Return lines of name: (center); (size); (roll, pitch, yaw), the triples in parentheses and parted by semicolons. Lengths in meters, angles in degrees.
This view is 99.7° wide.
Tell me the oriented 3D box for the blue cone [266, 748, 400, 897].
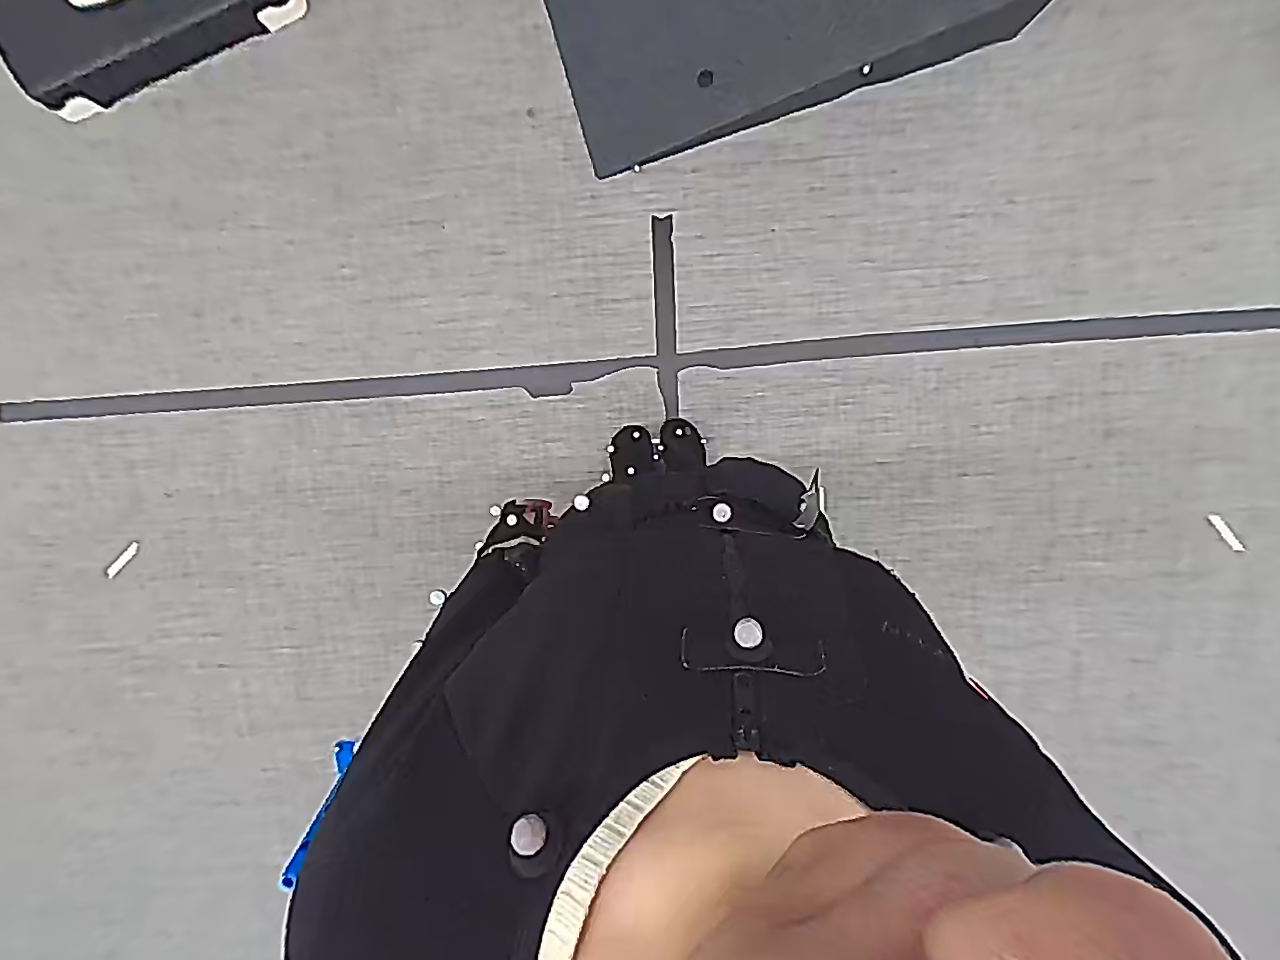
blue cone: (-0.786, 0.872, 1.369); (0.192, 0.380, 0.193); (-2, 99, 3)
